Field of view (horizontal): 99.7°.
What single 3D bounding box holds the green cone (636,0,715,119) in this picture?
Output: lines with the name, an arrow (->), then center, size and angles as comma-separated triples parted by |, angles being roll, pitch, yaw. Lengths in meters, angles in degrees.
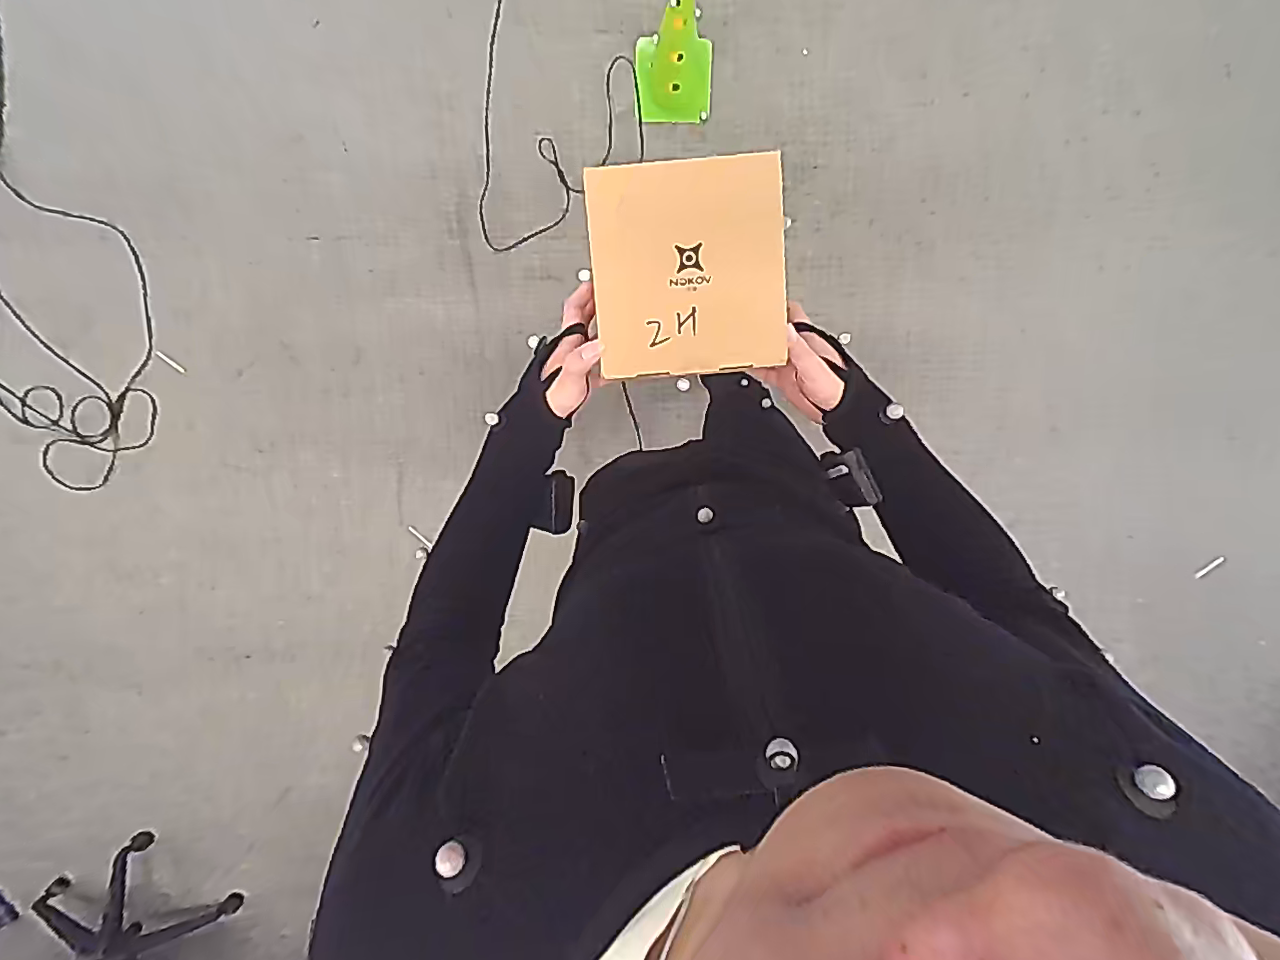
green cone -> 0.089, -1.031, 1.249 | 0.202, 0.368, 0.200 | 2, 100, 1

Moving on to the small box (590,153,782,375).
small box -> 0.040, -0.201, 0.548 | 0.168, 0.176, 0.179 | -4, 101, 0
